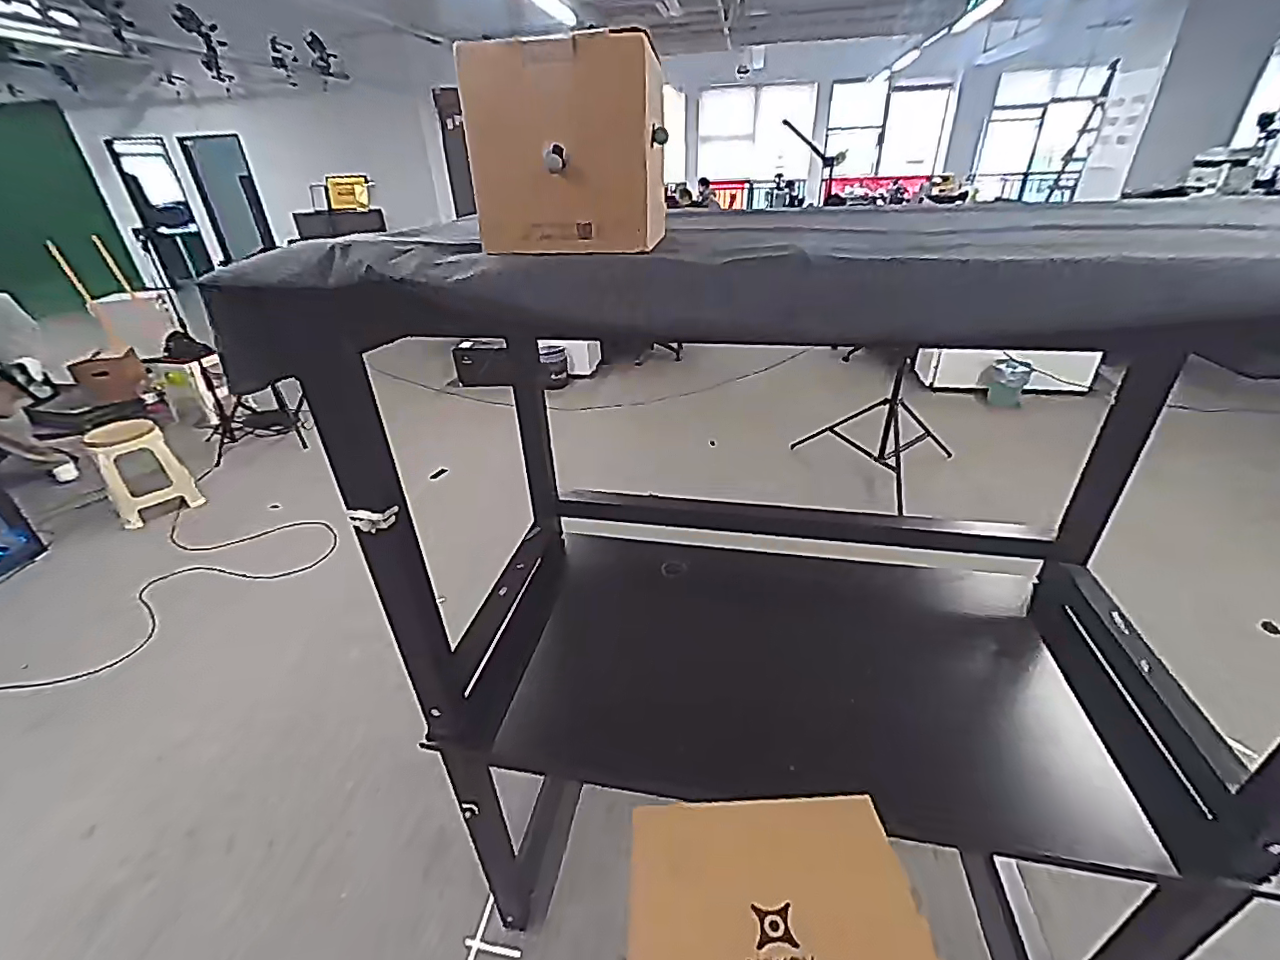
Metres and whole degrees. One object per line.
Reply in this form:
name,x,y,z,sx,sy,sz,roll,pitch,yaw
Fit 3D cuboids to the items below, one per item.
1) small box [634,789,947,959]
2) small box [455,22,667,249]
small box,0.085,0.323,0.323,0.168,0.176,0.179,-5,22,3
small box,-0.061,-0.333,0.548,0.168,0.176,0.179,3,30,6
